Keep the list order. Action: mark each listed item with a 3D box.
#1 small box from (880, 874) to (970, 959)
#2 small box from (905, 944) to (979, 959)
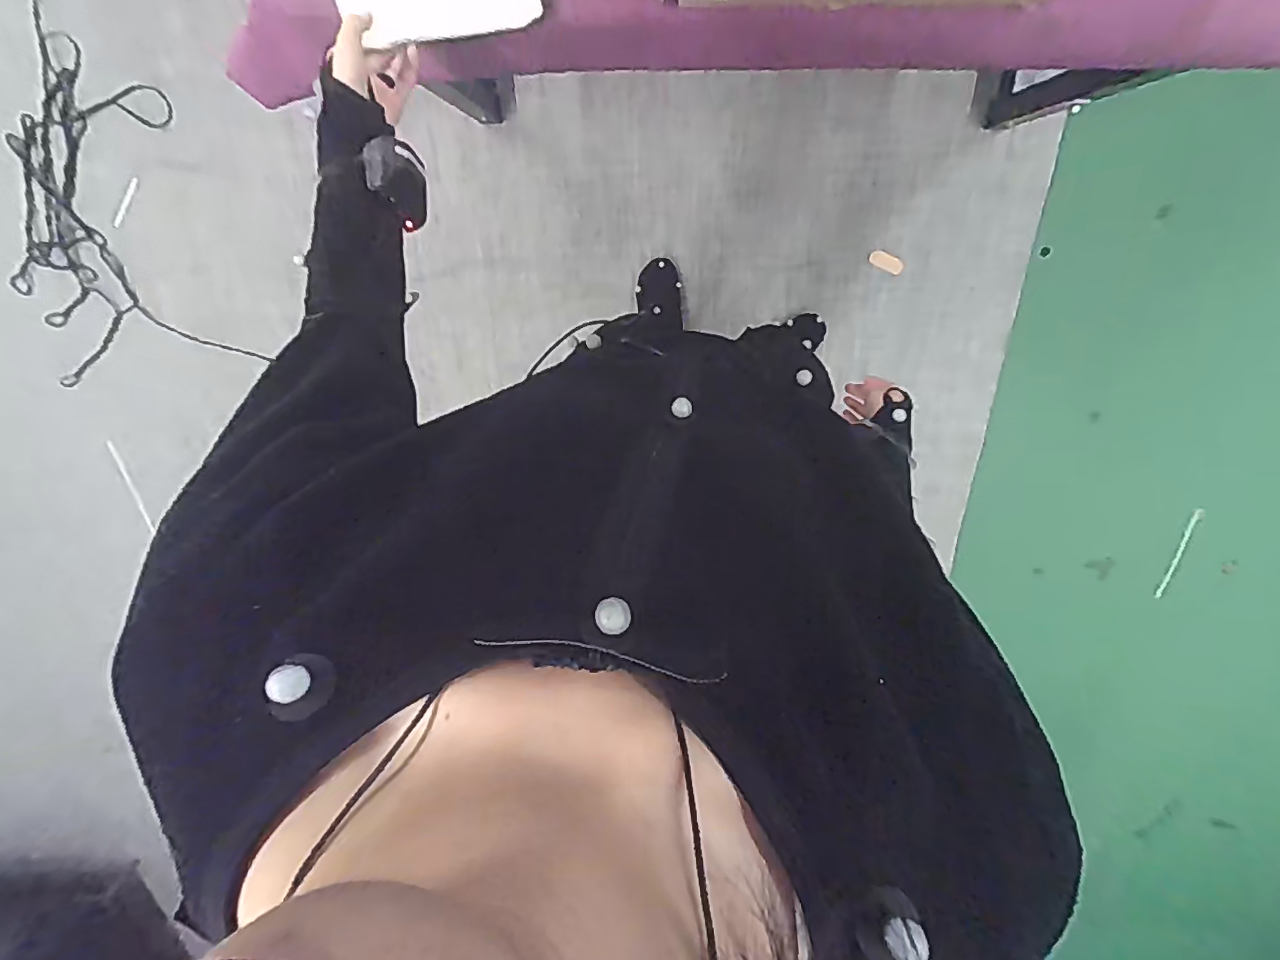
[{"bbox_3d":[0.757,1.194,1.452,0.168,0.176,0.179,-8,112,6],"label":"small box"},{"bbox_3d":[0.754,1.260,1.301,0.168,0.176,0.179,-9,110,7],"label":"small box"}]
